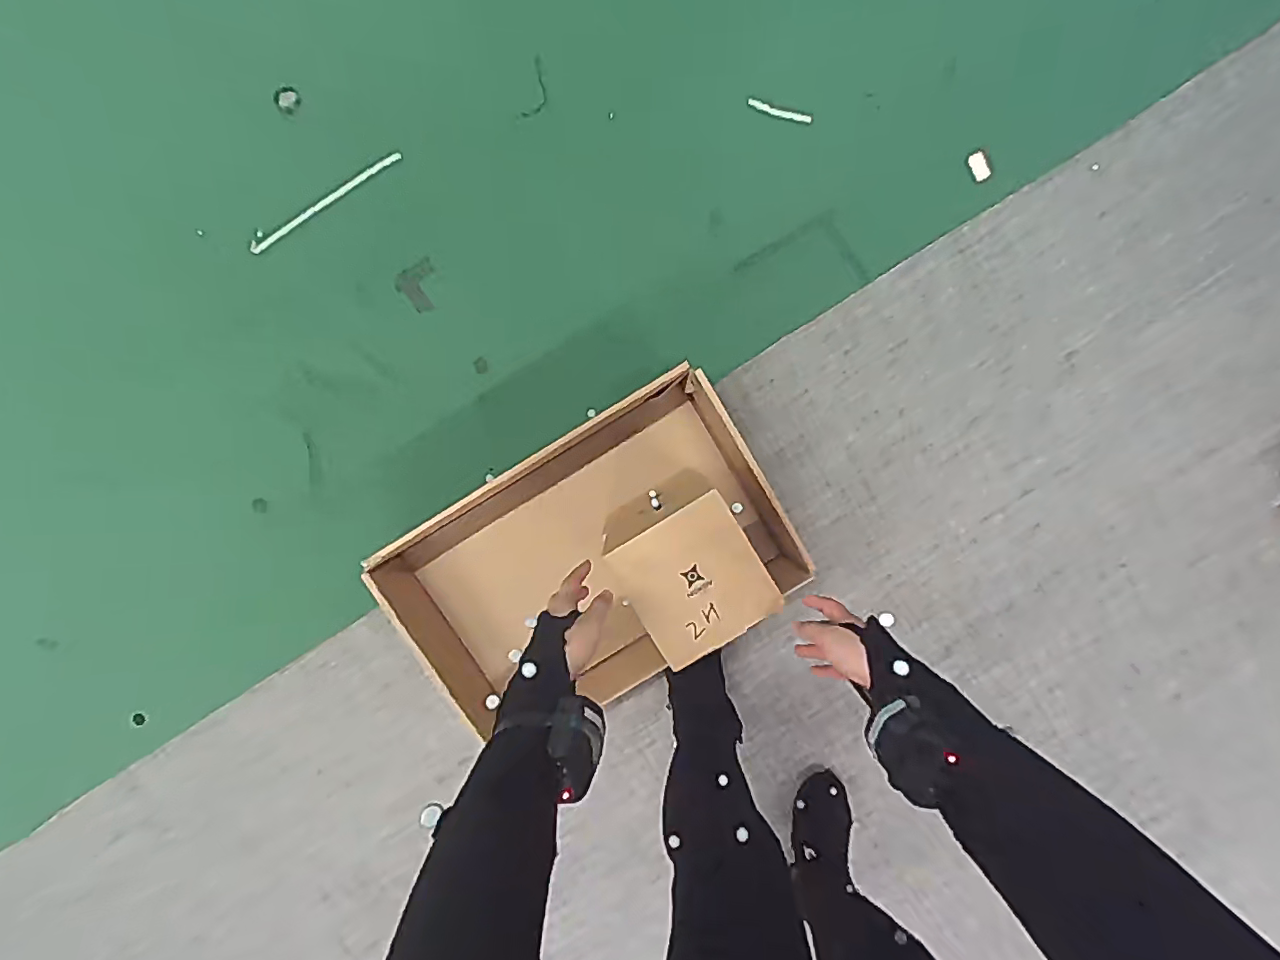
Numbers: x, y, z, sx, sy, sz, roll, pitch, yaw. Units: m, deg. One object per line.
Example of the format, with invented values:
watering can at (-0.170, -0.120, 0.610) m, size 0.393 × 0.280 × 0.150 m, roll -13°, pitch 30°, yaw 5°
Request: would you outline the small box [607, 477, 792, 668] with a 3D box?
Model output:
small box at (0.070, 0.108, 0.724) m, size 0.168 × 0.176 × 0.179 m, roll -32°, pitch 97°, yaw 3°
